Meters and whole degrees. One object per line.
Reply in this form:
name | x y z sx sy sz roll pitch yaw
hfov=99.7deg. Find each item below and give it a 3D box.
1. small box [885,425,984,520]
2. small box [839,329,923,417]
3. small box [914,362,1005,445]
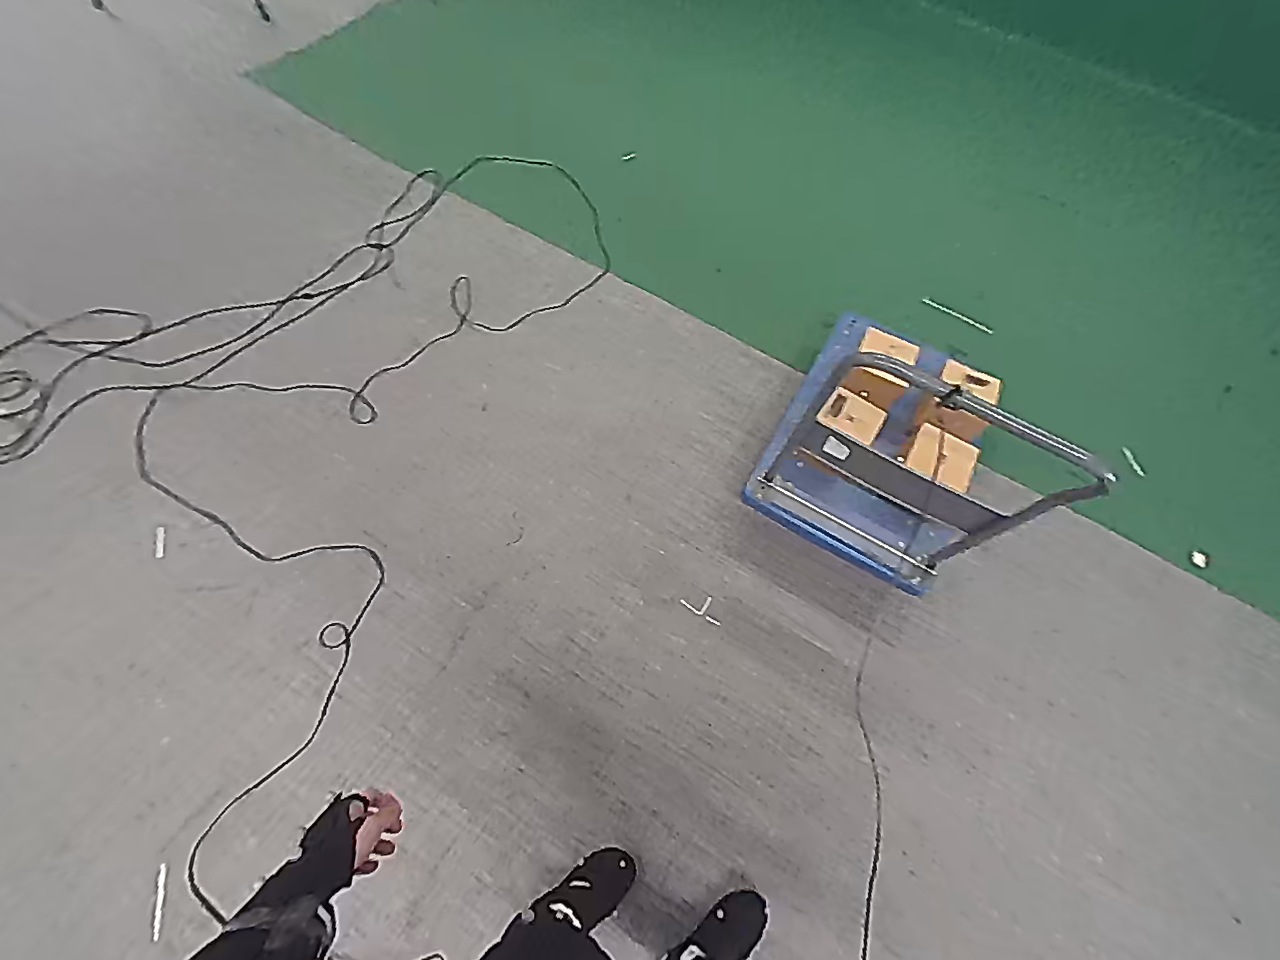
small box | 0.829 -0.017 1.537 0.168 0.176 0.179 30 66 11
small box | 0.744 -0.327 1.689 0.168 0.176 0.179 26 64 8
small box | 0.968 -0.220 1.649 0.168 0.176 0.179 26 65 10
